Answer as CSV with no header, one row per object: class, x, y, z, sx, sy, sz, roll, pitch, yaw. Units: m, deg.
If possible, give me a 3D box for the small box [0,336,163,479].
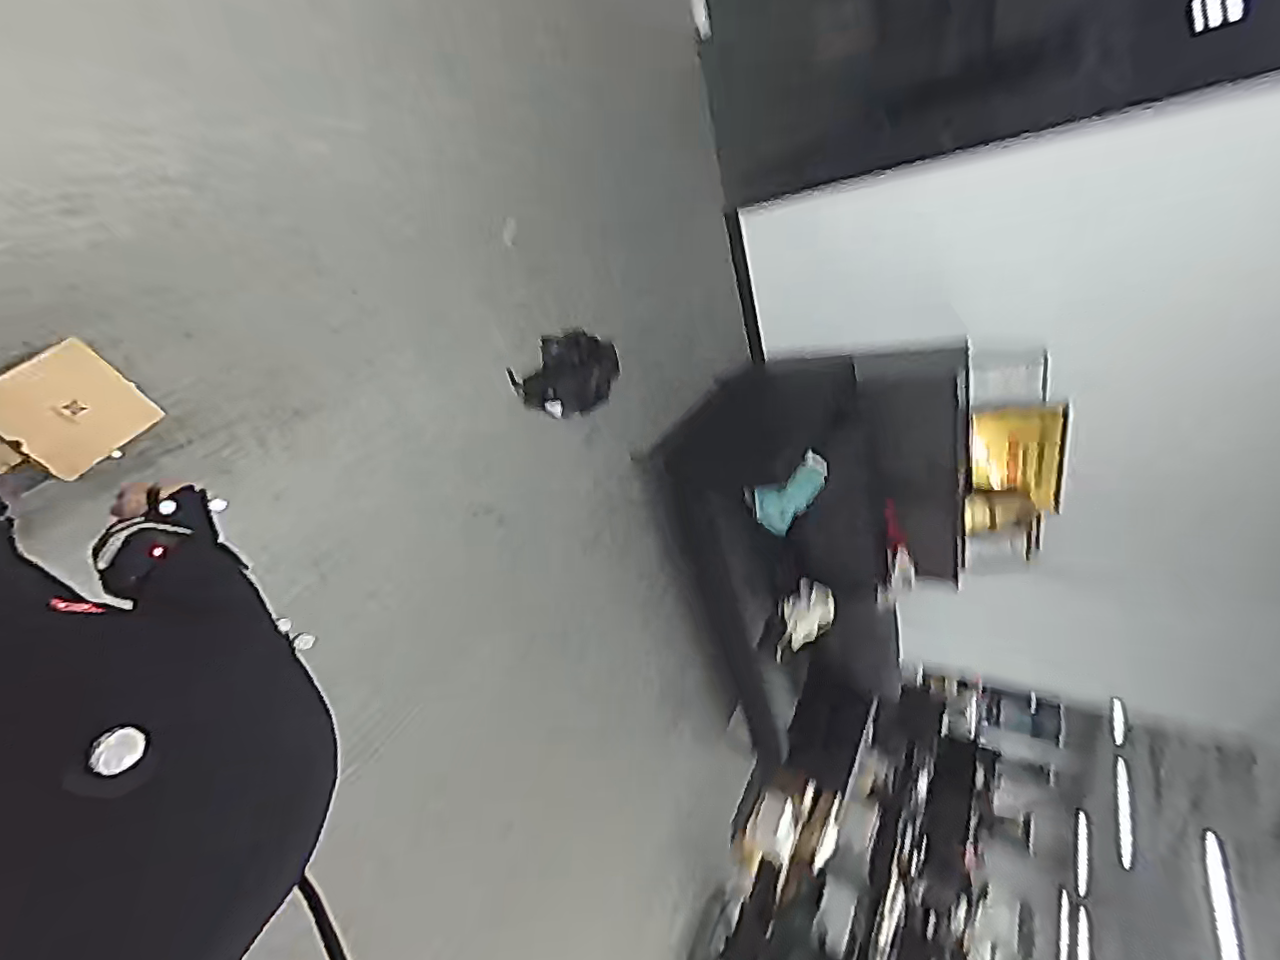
small box,-0.980,-0.125,0.911,0.179,0.176,0.168,-57,137,-32
